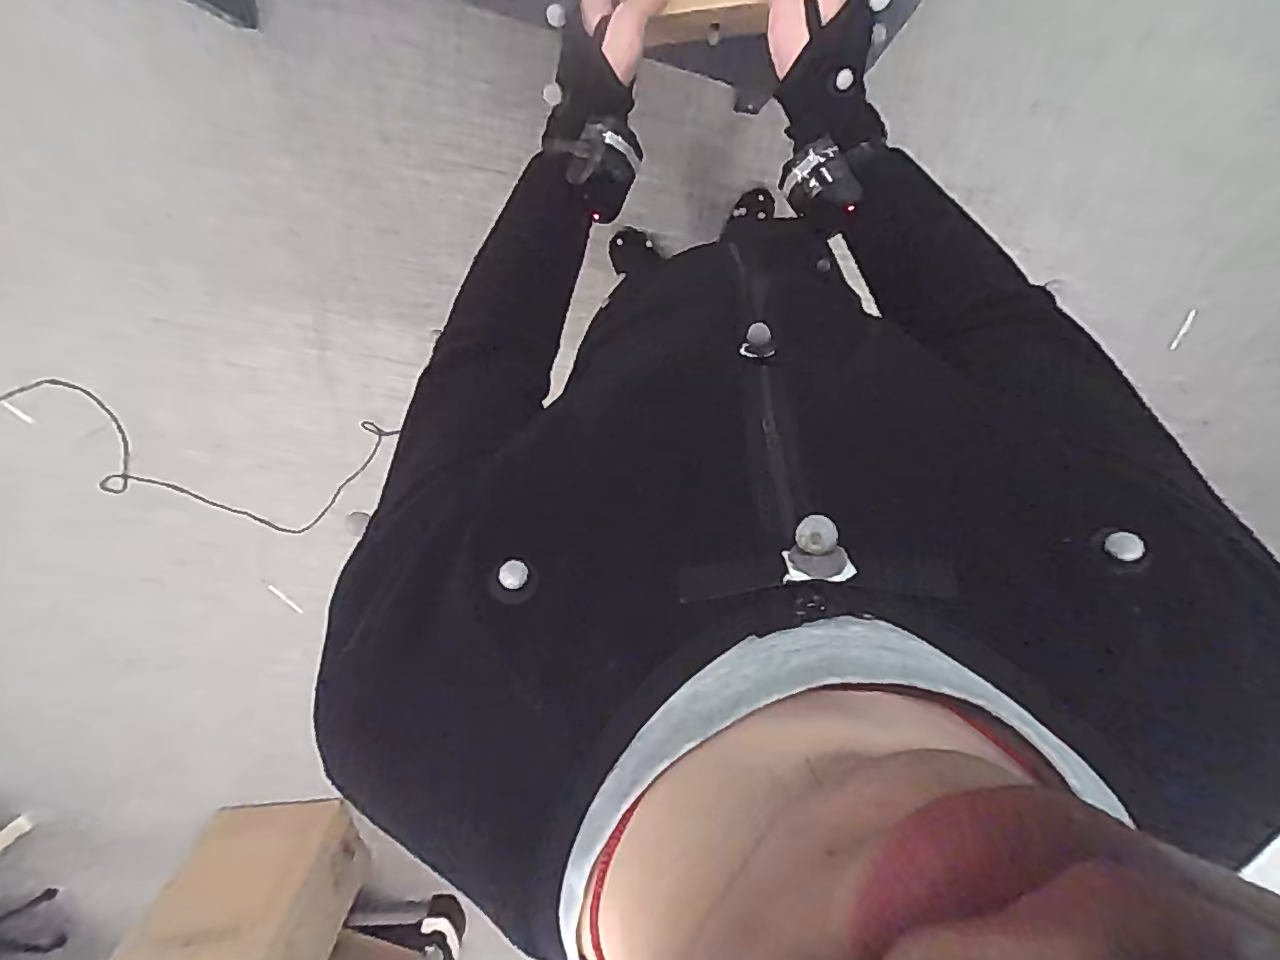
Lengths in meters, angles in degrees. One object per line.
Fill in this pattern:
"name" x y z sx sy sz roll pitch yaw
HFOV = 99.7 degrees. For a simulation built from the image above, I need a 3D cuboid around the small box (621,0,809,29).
"small box" 0.072 -0.508 0.461 0.179 0.176 0.168 1 122 8
